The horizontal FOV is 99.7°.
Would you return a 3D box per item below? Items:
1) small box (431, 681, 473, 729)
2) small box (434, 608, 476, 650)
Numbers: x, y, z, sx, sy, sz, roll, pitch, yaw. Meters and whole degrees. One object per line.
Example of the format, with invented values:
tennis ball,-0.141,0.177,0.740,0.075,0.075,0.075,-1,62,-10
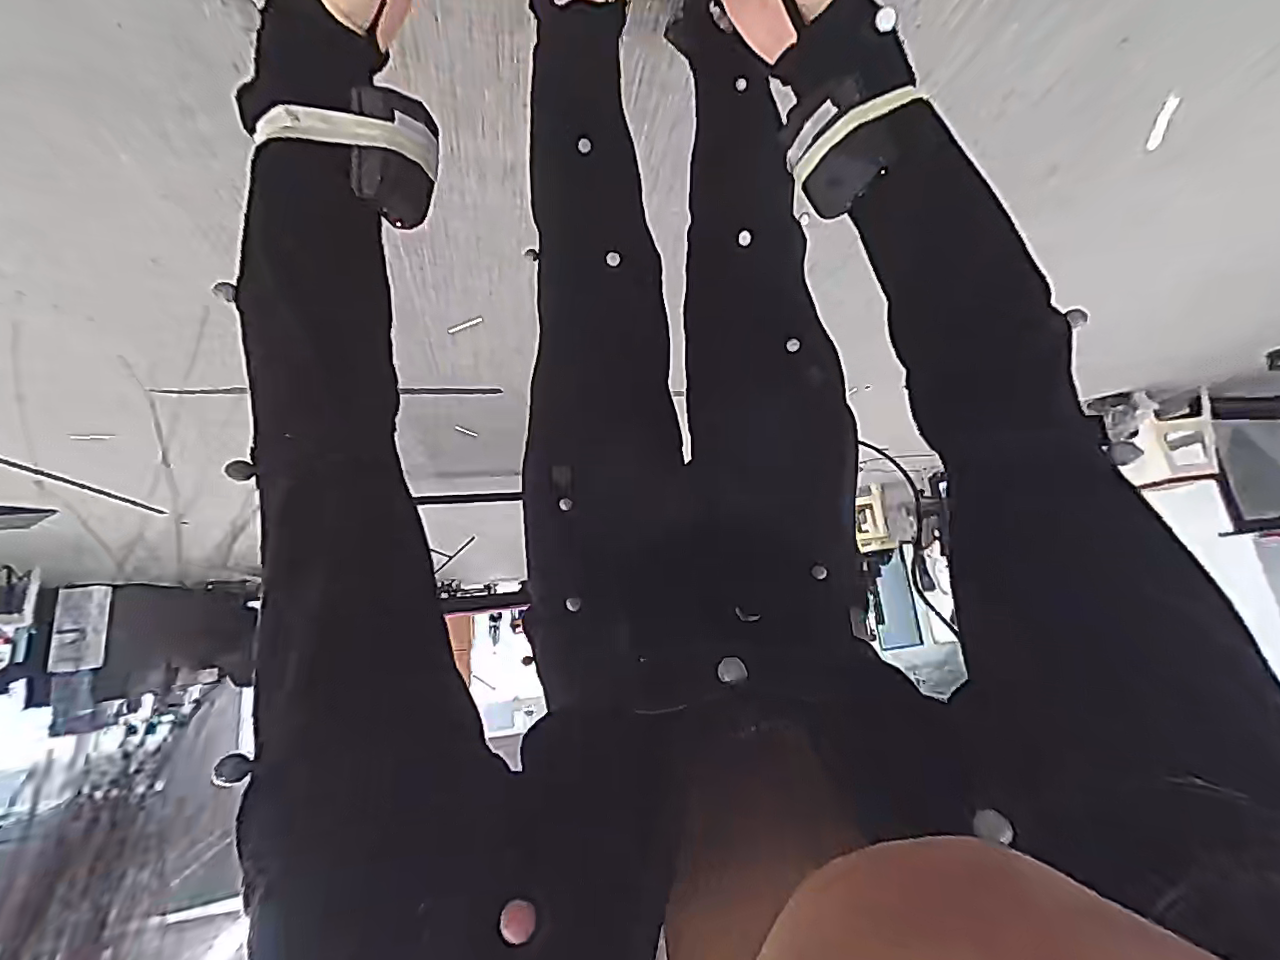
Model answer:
small box,-0.847,1.011,2.443,0.168,0.176,0.179,-3,167,-13
small box,-0.860,0.693,2.522,0.179,0.176,0.168,-3,167,-14
